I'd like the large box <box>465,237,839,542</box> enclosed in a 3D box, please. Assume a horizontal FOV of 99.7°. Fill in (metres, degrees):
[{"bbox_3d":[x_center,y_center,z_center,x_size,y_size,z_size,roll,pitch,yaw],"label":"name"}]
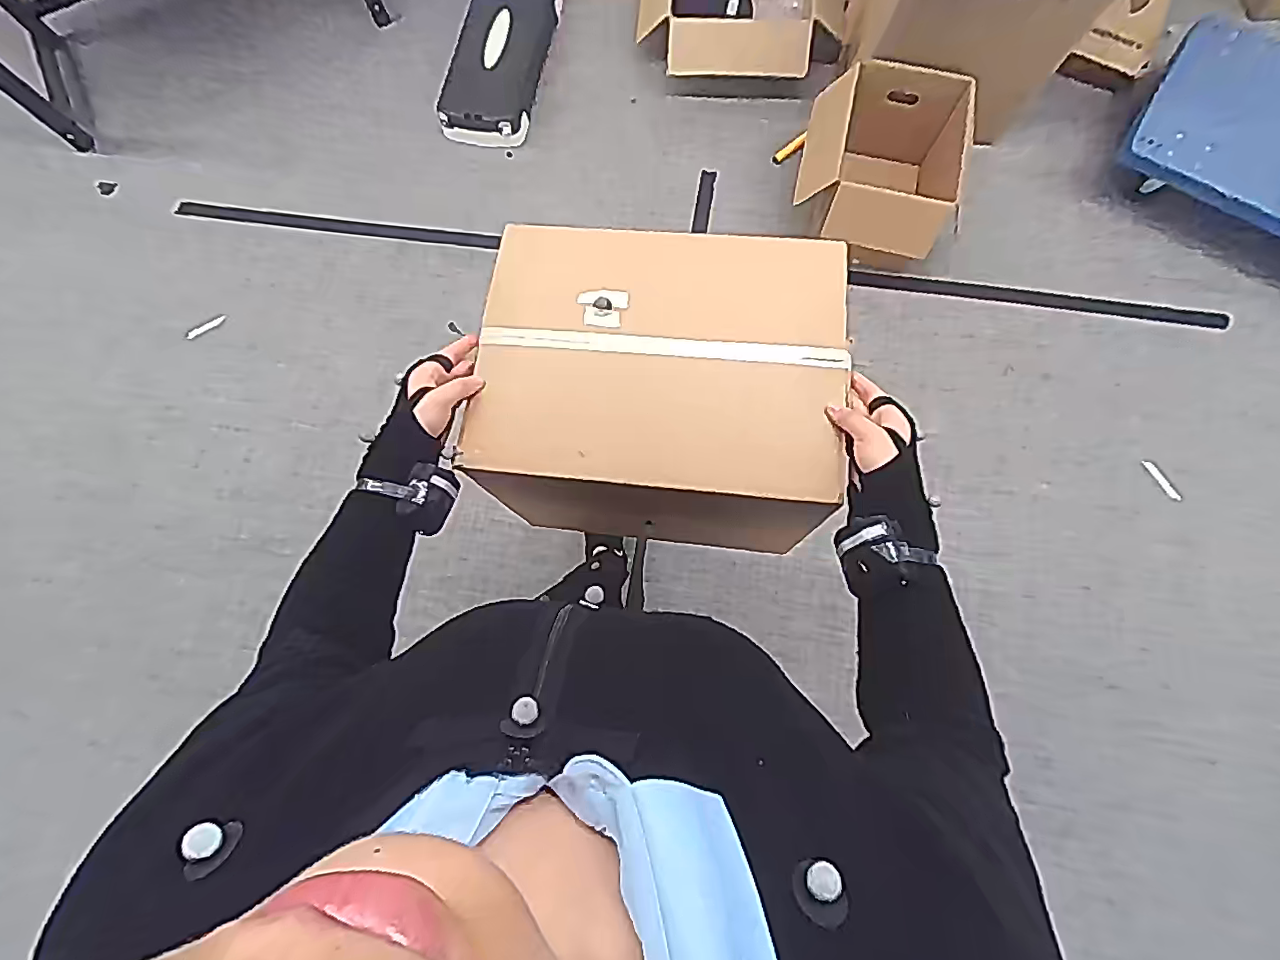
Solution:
[{"bbox_3d":[0.031,-0.101,0.750,0.408,0.320,0.320,4,72,6],"label":"large box"}]
